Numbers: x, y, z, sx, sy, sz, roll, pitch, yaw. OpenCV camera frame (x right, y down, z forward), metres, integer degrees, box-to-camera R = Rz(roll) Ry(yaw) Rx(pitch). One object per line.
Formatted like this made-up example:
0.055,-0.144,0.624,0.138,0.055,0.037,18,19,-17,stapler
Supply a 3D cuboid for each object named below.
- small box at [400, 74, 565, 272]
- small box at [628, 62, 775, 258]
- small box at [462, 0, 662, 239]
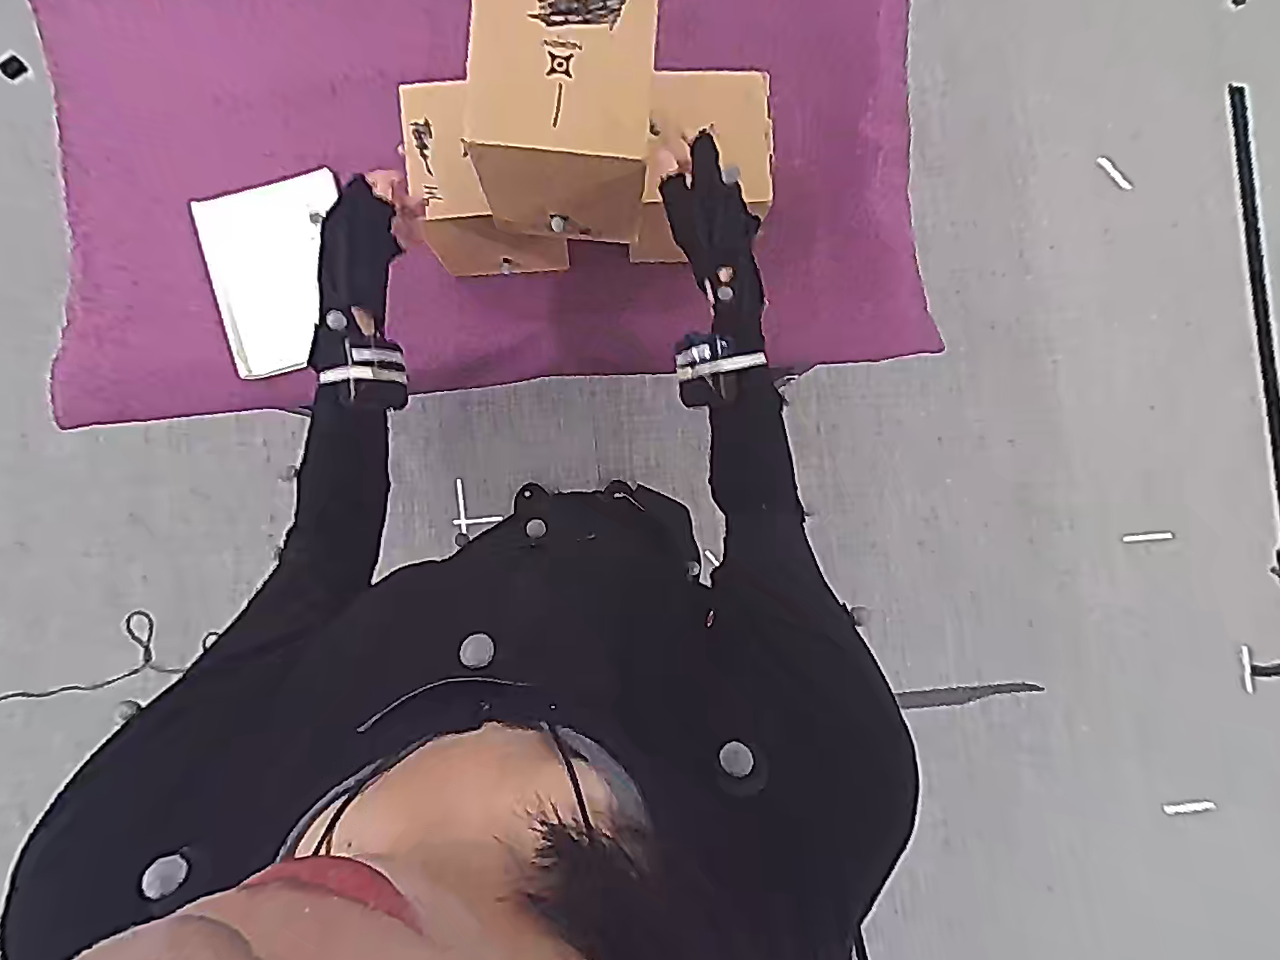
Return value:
-0.192,-0.390,0.711,0.179,0.176,0.168,-5,88,-4,small box
0.072,-0.413,0.725,0.179,0.176,0.168,-1,87,-1,small box
-0.072,-0.377,0.552,0.168,0.176,0.179,4,89,-3,small box
